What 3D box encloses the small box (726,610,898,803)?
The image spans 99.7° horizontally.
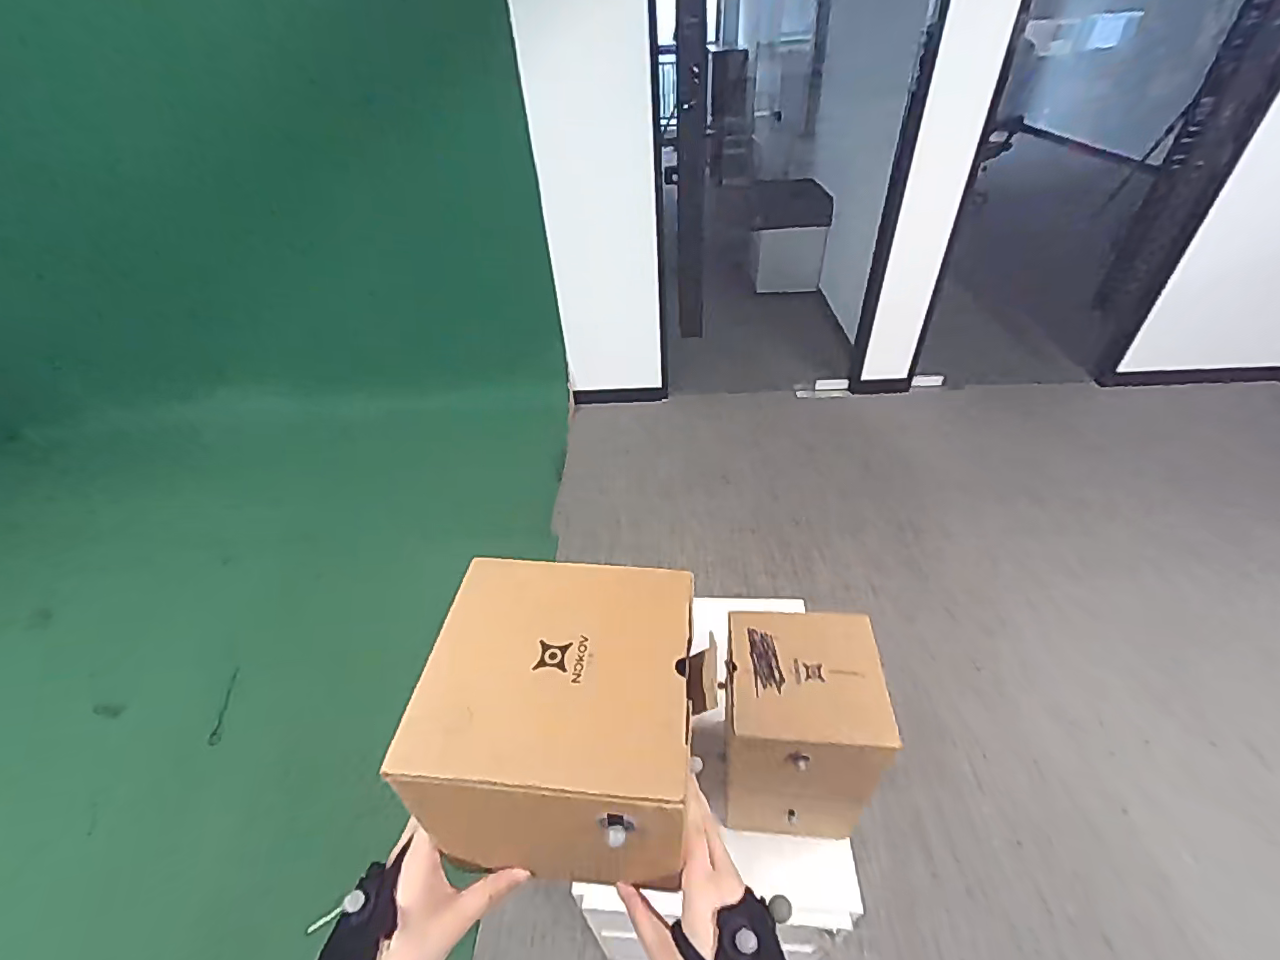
[{"bbox_3d":[0.197,0.284,0.679,0.179,0.176,0.168,1,41,7],"label":"small box"}]

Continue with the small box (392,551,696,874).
[{"bbox_3d":[-0.050,0.175,0.415,0.179,0.176,0.168,3,39,4],"label":"small box"}]
